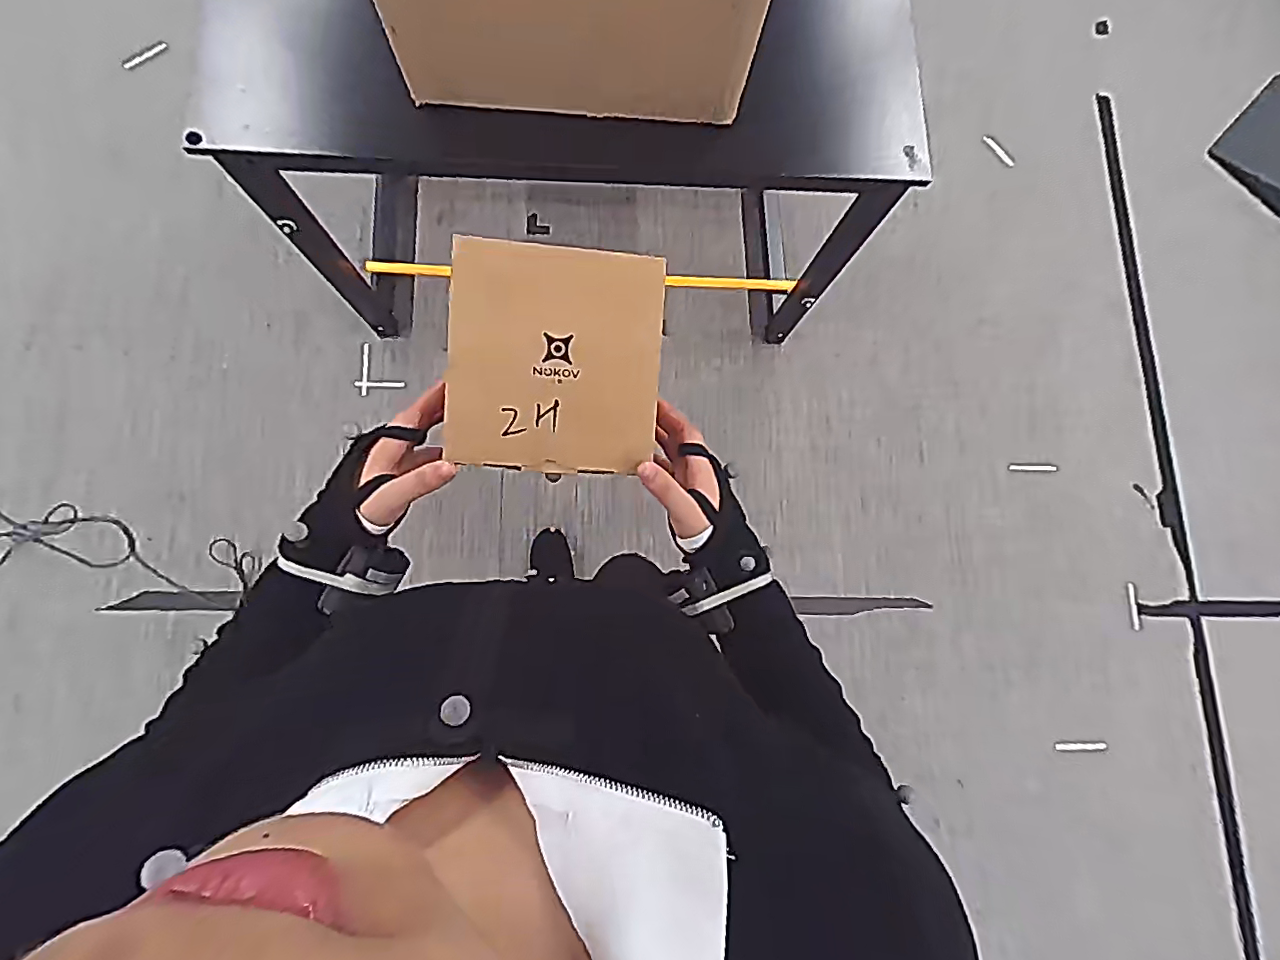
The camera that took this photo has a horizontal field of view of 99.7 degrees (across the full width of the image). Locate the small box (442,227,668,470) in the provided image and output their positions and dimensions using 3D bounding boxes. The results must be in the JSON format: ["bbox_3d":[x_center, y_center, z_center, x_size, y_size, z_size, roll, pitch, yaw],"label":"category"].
[{"bbox_3d":[-0.075,-0.104,0.500,0.168,0.176,0.179,4,93,-7],"label":"small box"}]
